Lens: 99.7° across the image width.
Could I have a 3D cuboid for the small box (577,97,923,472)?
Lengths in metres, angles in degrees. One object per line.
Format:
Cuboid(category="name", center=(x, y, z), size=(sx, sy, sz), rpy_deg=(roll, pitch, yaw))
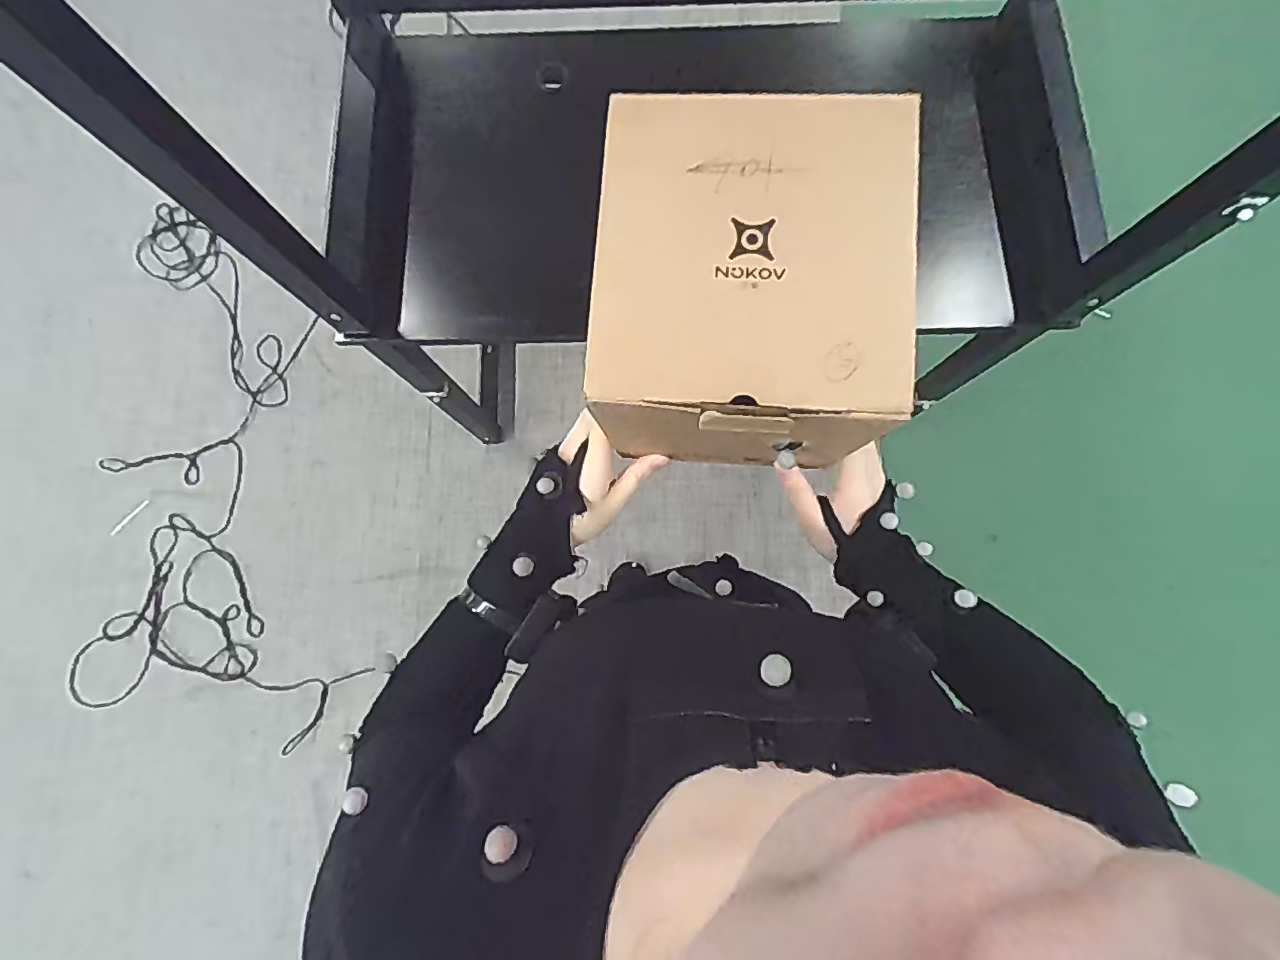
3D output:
Cuboid(category="small box", center=(0.063, -0.104, 0.352), size=(0.168, 0.176, 0.179), rpy_deg=(4, 82, 5))
